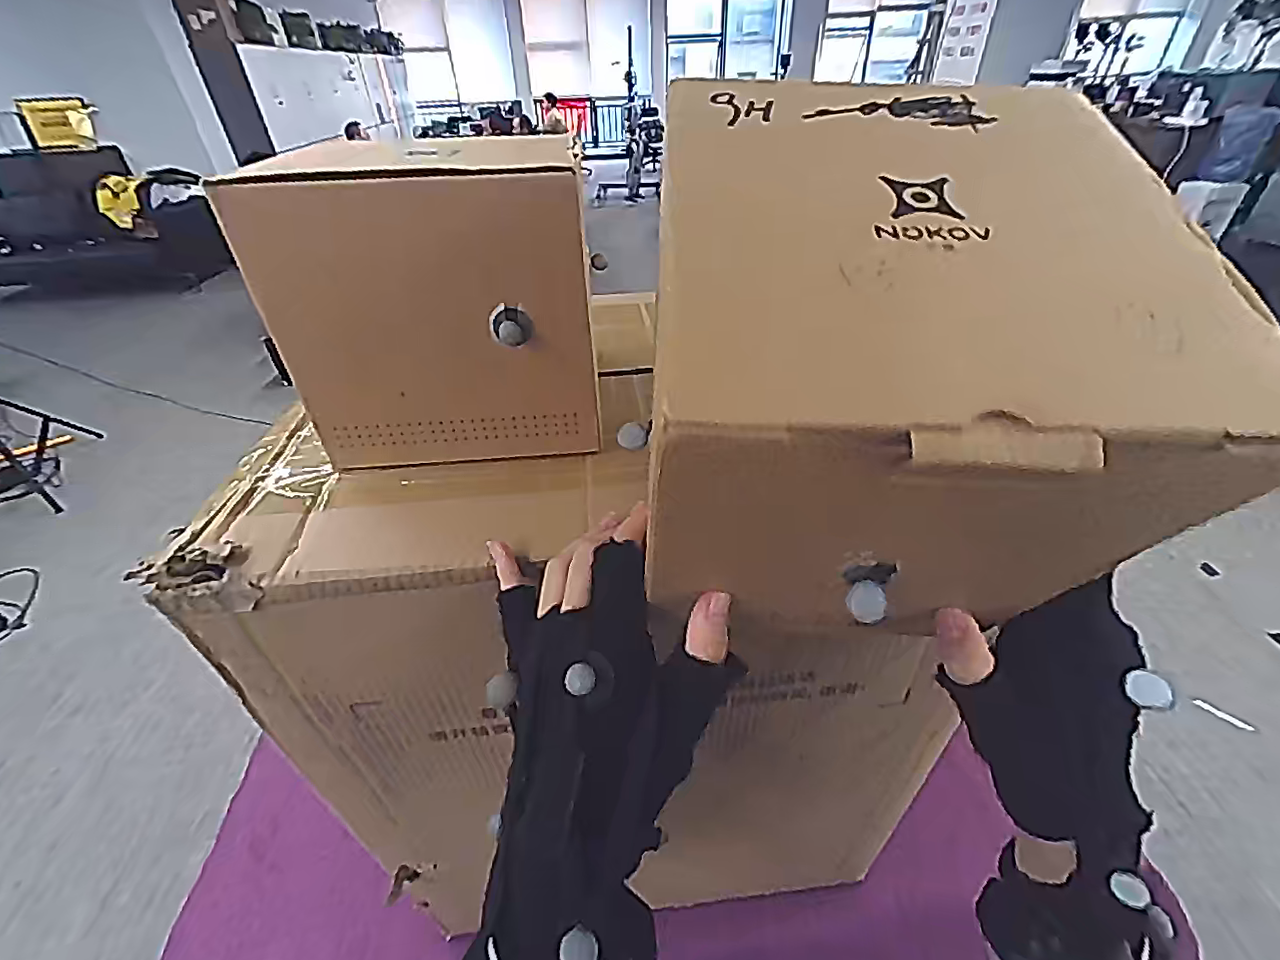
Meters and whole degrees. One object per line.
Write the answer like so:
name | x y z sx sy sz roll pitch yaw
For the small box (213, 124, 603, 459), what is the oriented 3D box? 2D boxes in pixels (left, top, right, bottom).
small box | -0.116 -0.130 0.364 0.179 0.176 0.168 -5 37 -3

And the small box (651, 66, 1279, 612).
small box | 0.090 -0.049 0.242 0.168 0.176 0.179 2 59 1
